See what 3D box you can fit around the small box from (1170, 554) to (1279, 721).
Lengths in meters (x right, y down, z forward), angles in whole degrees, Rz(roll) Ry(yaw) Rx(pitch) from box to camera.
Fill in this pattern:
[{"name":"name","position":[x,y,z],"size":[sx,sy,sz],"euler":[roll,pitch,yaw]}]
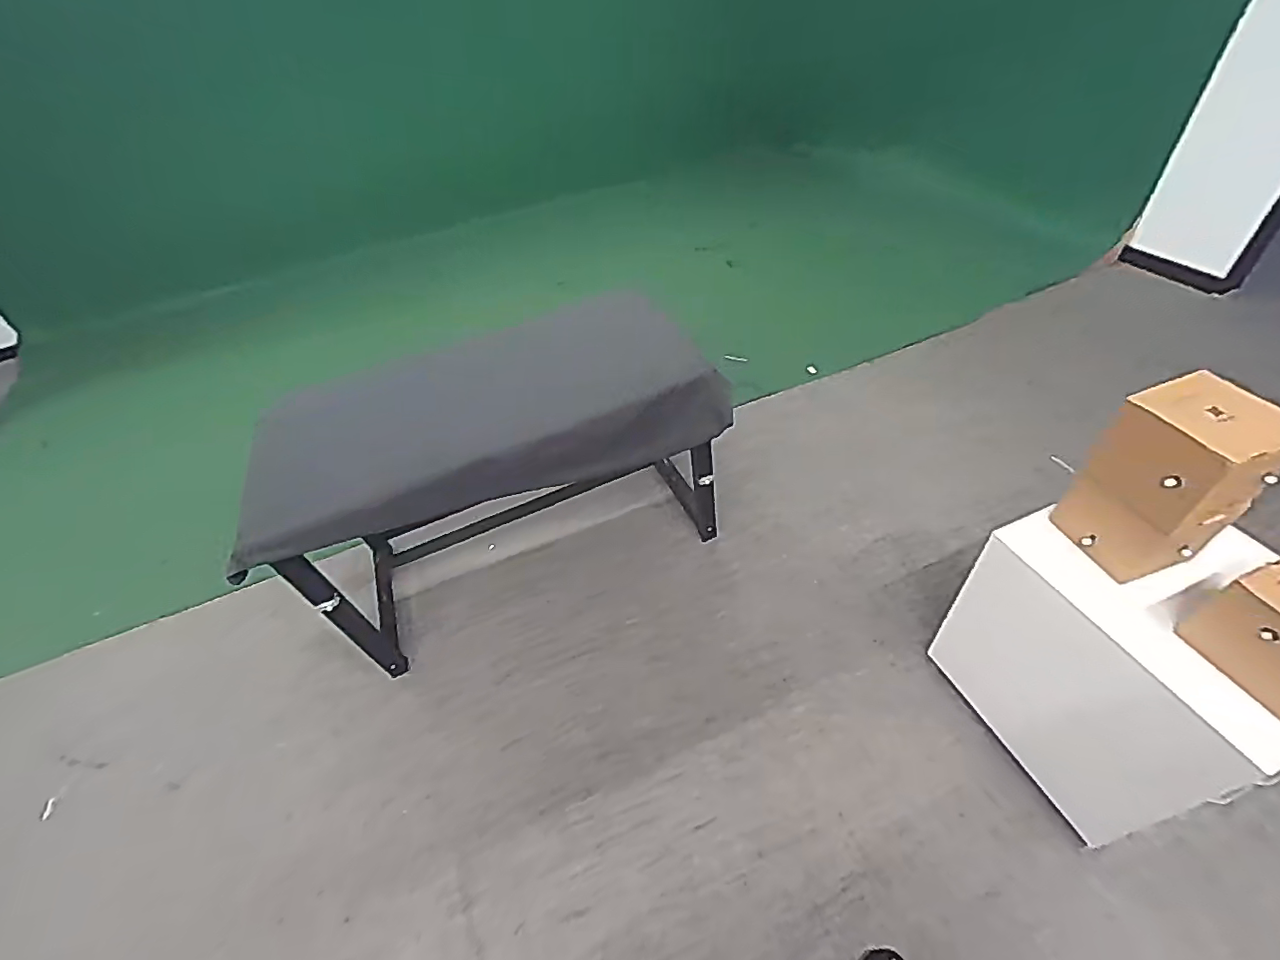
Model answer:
[{"name":"small box","position":[1.020,0.247,0.856],"size":[0.168,0.176,0.179],"euler":[-20,46,-11]}]

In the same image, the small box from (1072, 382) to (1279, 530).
[{"name":"small box","position":[0.908,-0.035,0.922],"size":[0.168,0.176,0.179],"euler":[-18,45,-11]}]
